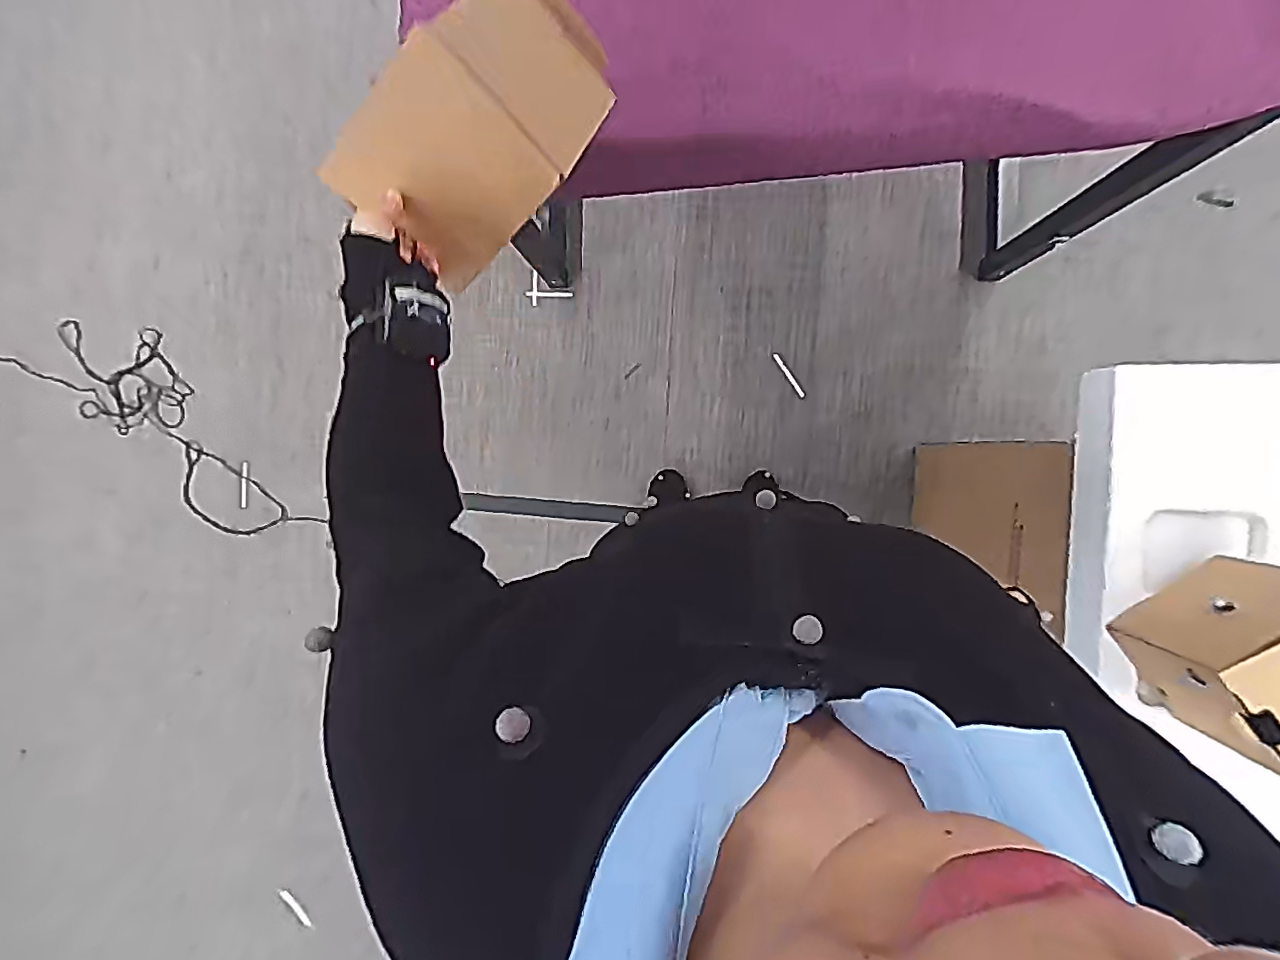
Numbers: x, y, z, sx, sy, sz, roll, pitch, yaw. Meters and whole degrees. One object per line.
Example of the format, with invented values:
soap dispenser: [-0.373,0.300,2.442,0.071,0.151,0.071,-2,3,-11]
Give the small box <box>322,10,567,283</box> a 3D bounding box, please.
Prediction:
small box: [-0.203,-0.359,0.597,0.179,0.176,0.168,-39,122,16]
